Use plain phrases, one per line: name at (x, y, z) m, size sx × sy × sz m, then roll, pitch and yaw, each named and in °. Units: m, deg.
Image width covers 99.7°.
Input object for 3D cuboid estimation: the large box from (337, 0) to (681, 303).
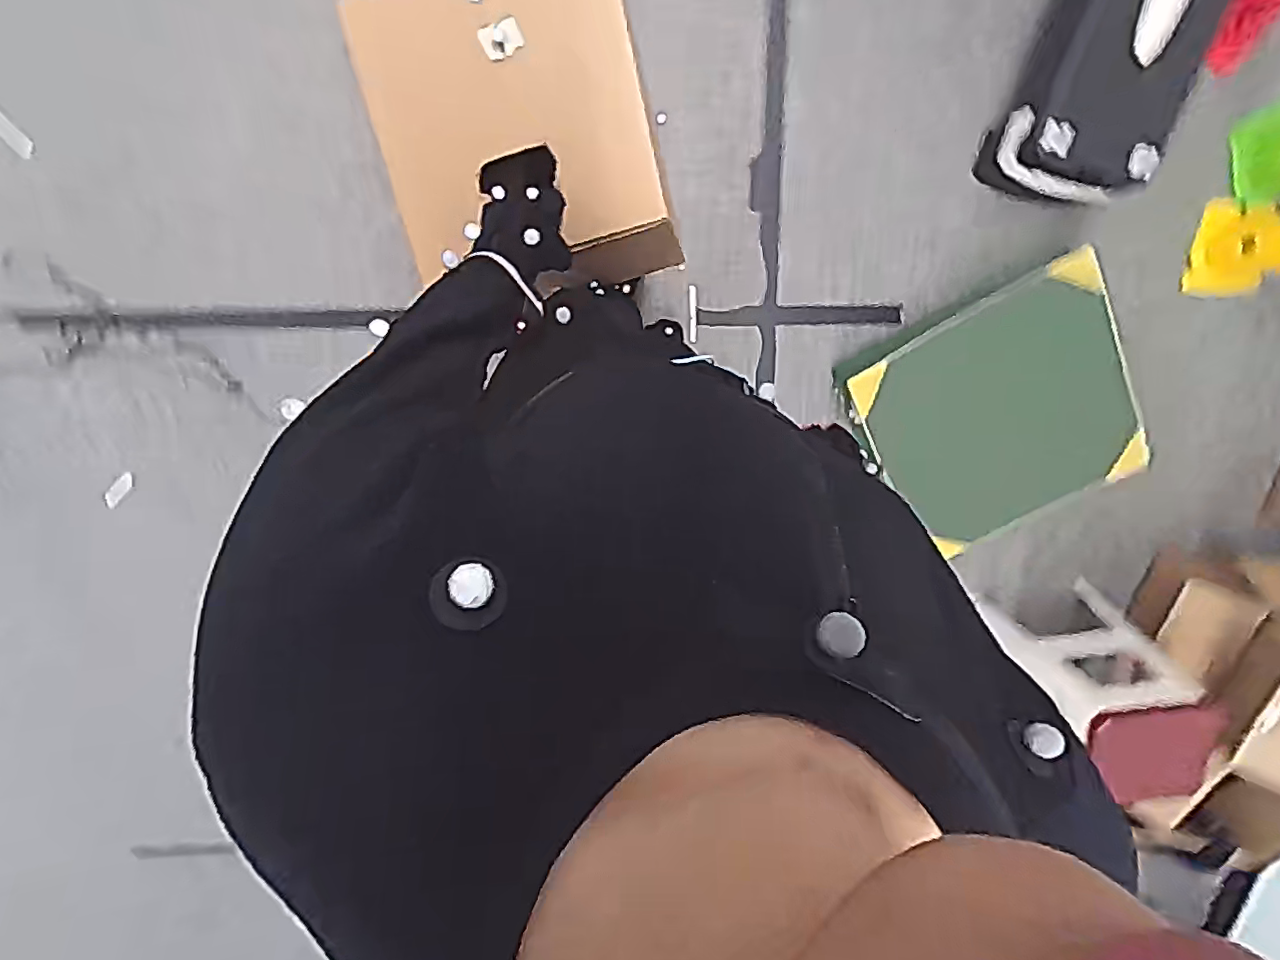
large box at (-0.138, -0.461, 0.800) m, size 0.320 × 0.408 × 0.320 m, roll -11°, pitch 105°, yaw 11°
